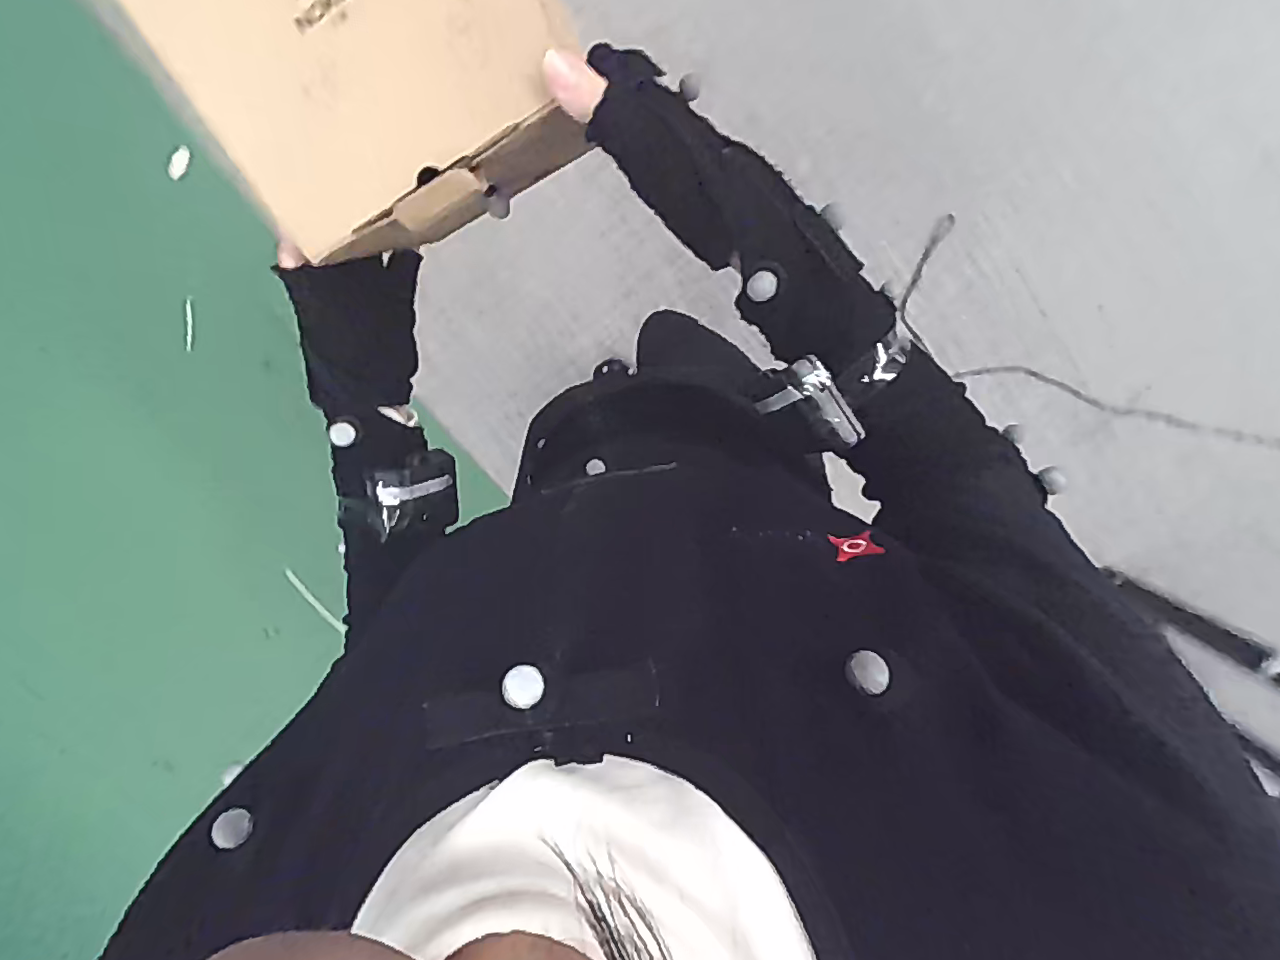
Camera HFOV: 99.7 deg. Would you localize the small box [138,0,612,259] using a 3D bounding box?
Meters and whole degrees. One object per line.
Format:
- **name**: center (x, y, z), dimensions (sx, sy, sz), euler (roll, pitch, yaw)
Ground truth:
- **small box**: center (-0.128, -0.252, 0.303), dimensions (0.168, 0.176, 0.179), euler (-22, 114, 15)
